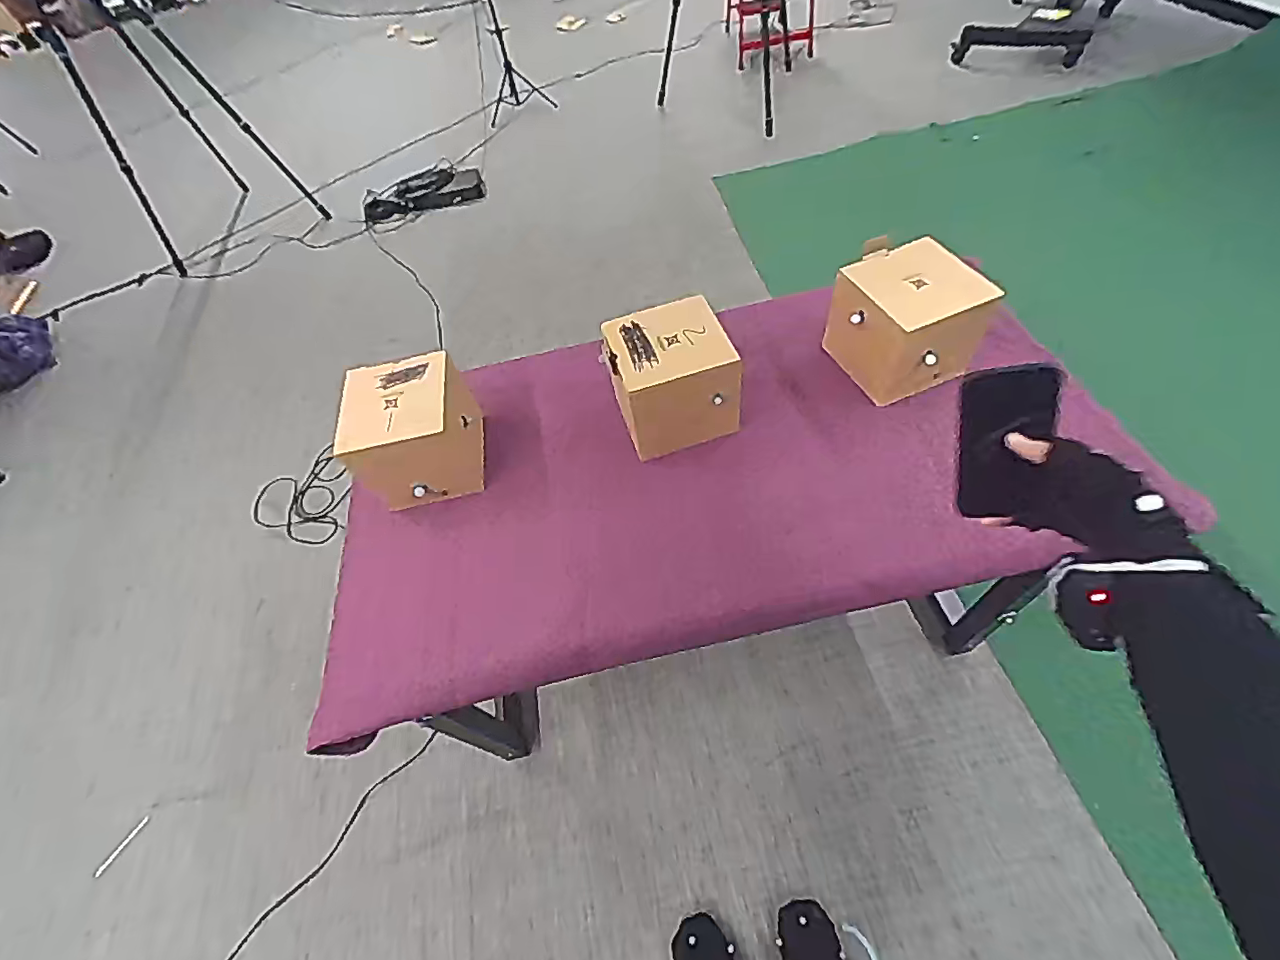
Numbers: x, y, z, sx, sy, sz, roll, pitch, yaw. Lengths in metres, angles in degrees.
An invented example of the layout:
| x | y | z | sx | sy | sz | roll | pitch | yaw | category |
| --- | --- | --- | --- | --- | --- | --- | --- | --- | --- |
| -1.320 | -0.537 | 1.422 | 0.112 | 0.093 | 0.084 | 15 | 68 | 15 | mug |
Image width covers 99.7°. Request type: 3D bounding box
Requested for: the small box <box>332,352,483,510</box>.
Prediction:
| x | y | z | sx | sy | sz | roll | pitch | yaw | category |
| --- | --- | --- | --- | --- | --- | --- | --- | --- | --- |
| -0.365 | -0.076 | 0.883 | 0.168 | 0.176 | 0.179 | -12 | 57 | 0 | small box |

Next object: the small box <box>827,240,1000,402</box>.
| x | y | z | sx | sy | sz | roll | pitch | yaw | category |
| --- | --- | --- | --- | --- | --- | --- | --- | --- | --- |
| 0.431 | -0.251 | 0.887 | 0.168 | 0.176 | 0.179 | -22 | 55 | -6 | small box |
